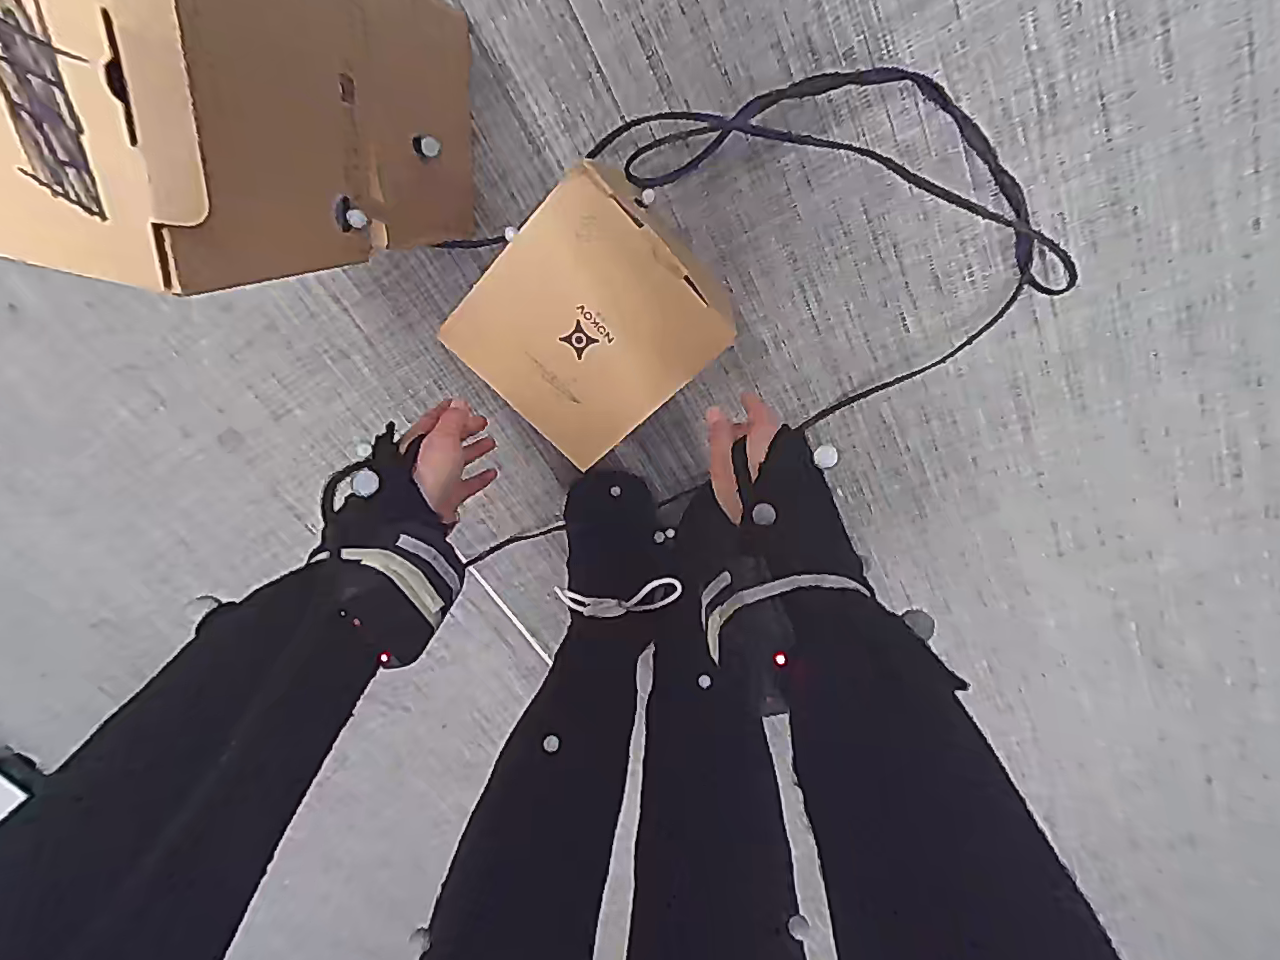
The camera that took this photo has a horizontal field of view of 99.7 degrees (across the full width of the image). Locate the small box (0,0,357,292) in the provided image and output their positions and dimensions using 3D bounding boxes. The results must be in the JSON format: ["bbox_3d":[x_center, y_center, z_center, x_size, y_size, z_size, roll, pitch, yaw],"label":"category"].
[{"bbox_3d":[-0.274,-0.215,0.290,0.179,0.176,0.168,13,118,1],"label":"small box"}]

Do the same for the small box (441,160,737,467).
[{"bbox_3d":[-0.036,-0.151,0.486,0.179,0.176,0.168,-40,107,24],"label":"small box"}]

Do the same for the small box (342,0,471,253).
[{"bbox_3d":[-0.245,-0.293,0.432,0.168,0.176,0.179,8,118,3],"label":"small box"}]
